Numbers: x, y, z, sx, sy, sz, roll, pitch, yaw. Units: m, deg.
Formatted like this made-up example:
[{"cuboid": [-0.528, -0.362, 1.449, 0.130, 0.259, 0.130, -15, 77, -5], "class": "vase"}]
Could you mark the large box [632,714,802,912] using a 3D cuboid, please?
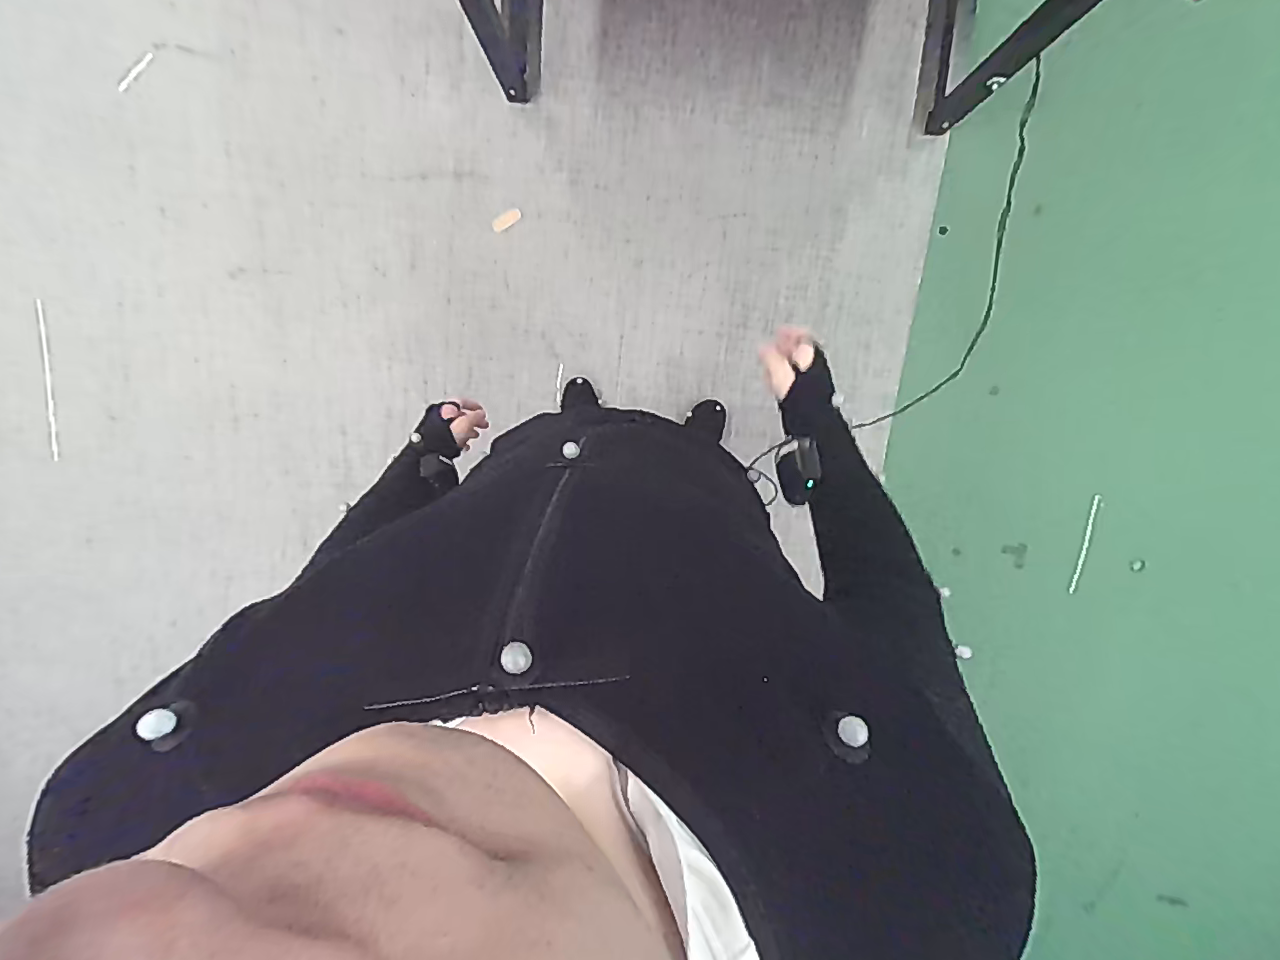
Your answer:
[{"cuboid": [0.218, 1.009, 1.675, 0.408, 0.320, 0.320, -26, 100, 4], "class": "large box"}]
